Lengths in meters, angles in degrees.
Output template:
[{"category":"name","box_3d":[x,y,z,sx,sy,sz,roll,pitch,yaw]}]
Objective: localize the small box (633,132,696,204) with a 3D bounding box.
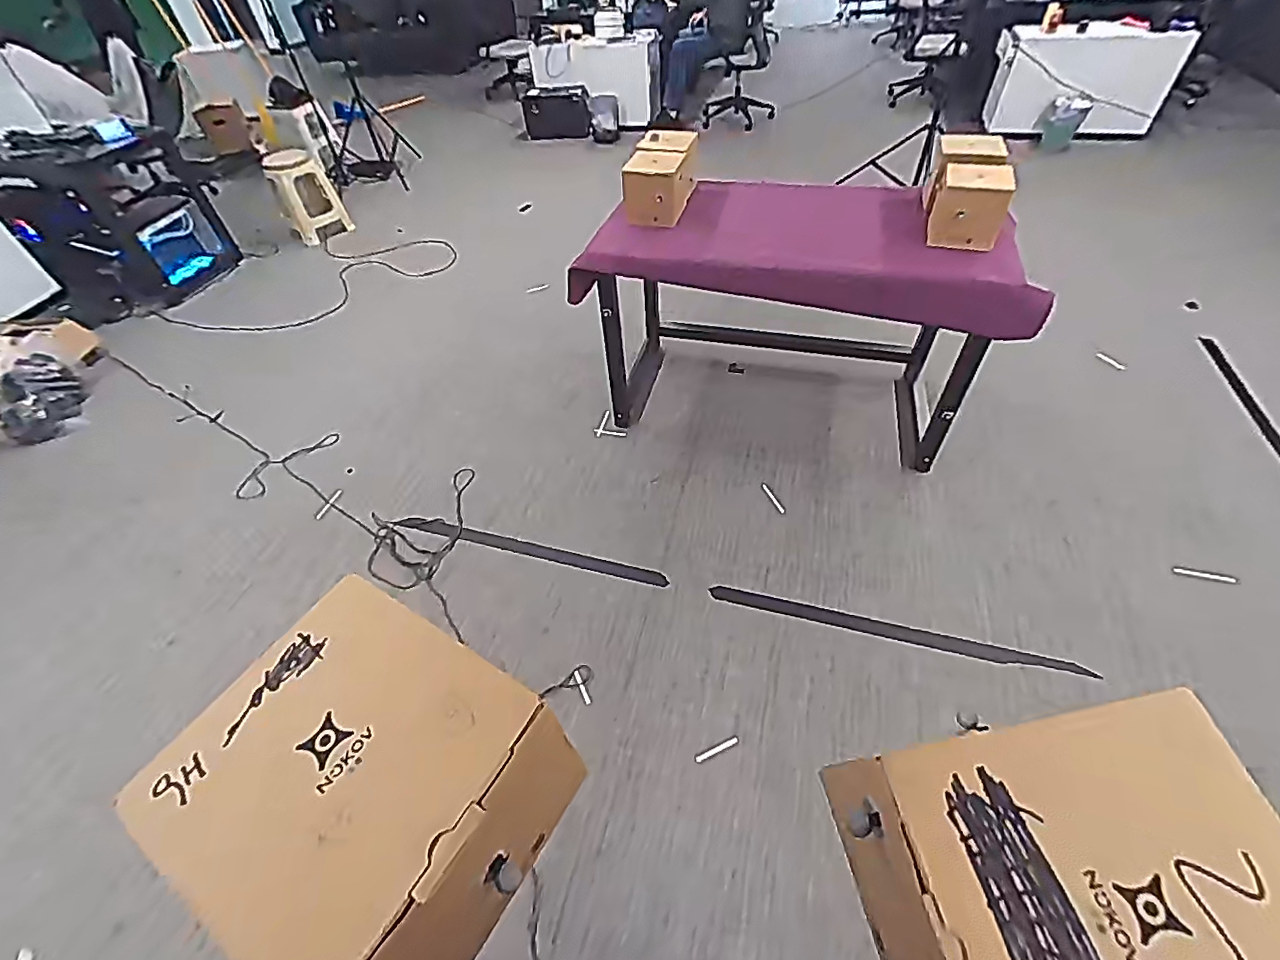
[{"category":"small box","box_3d":[0.086,-1.071,1.857,0.179,0.176,0.168,12,52,13]}]

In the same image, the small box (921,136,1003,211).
[{"category":"small box","box_3d":[0.977,-0.935,1.661,0.179,0.176,0.168,11,51,13]}]

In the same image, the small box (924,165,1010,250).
[{"category":"small box","box_3d":[0.917,-0.768,1.526,0.168,0.176,0.179,13,50,17]}]

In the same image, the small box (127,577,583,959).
[{"category":"small box","box_3d":[-0.156,0.202,0.361,0.179,0.176,0.168,24,56,22]}]
